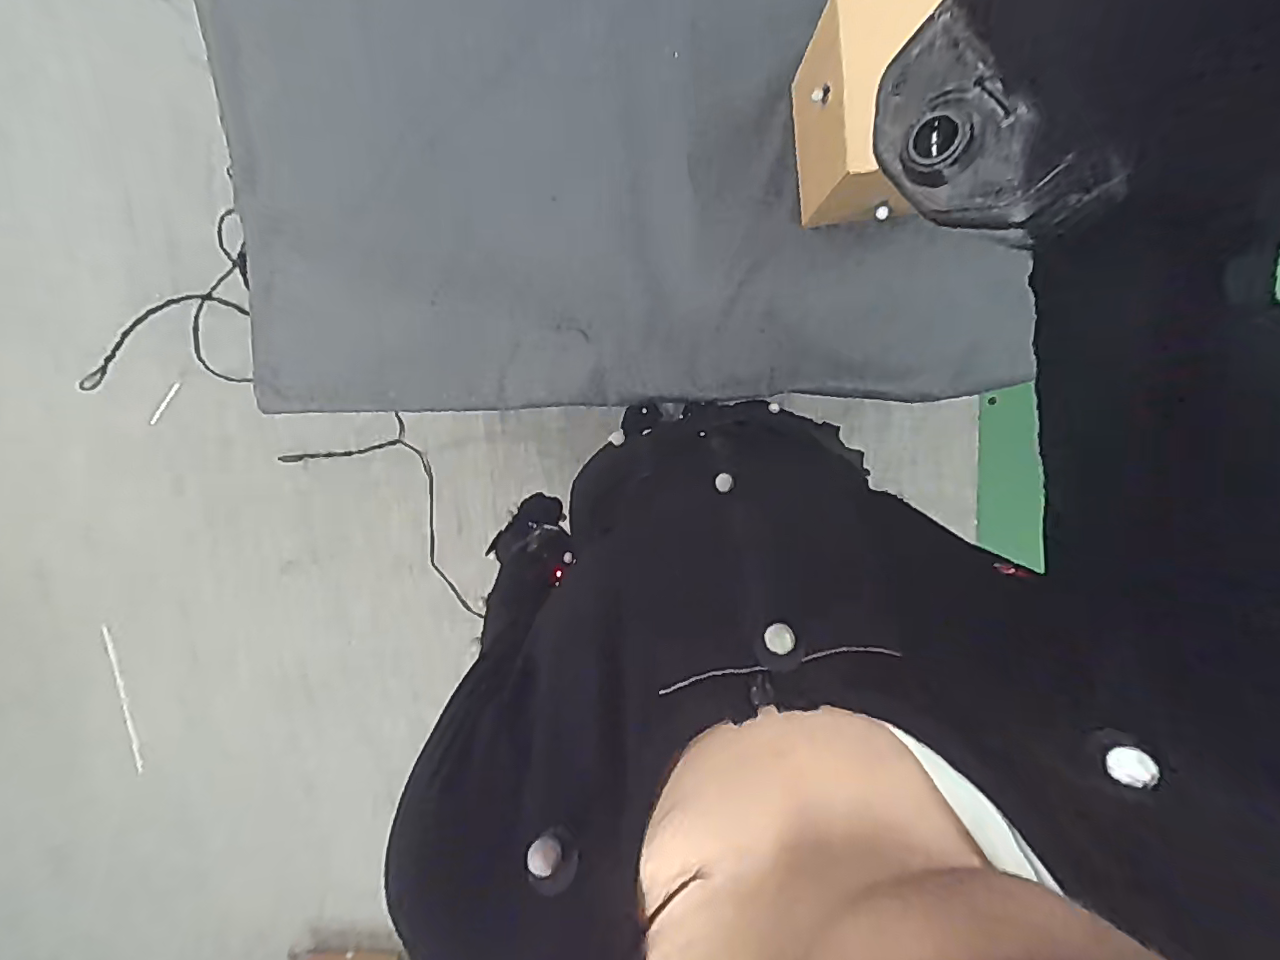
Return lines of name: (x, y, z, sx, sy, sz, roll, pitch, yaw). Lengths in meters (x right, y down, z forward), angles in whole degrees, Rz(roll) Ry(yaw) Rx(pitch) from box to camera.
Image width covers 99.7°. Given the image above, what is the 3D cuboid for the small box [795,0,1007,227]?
small box: (0.282, -0.414, 0.616, 0.168, 0.176, 0.179, -6, 98, 3)
